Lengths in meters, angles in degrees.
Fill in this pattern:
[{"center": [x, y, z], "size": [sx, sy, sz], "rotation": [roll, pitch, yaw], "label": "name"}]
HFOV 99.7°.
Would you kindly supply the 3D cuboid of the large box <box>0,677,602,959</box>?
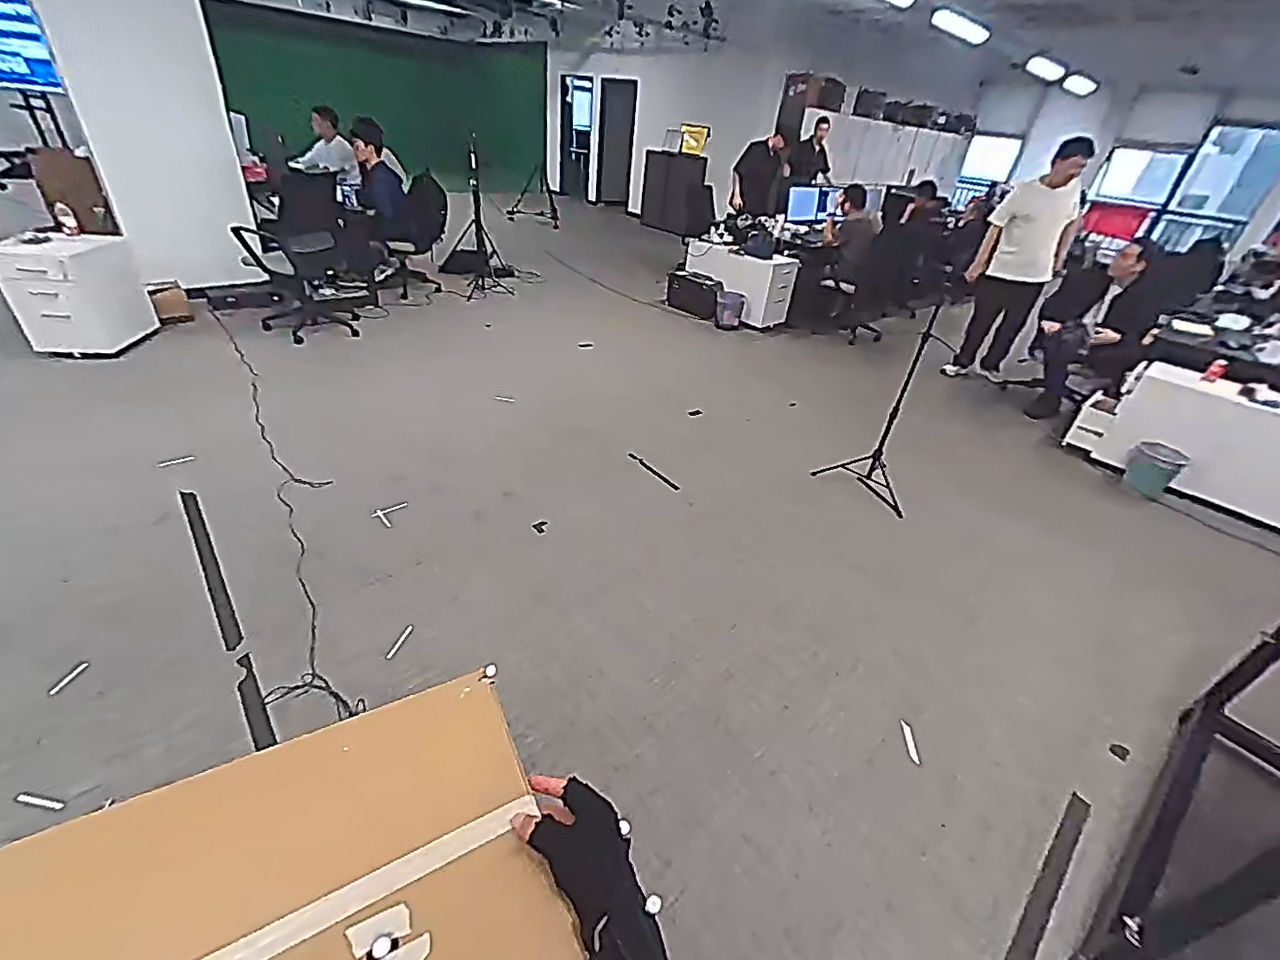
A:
[{"center": [-0.287, 0.466, 0.506], "size": [0.408, 0.320, 0.320], "rotation": [-13, 44, -28], "label": "large box"}]
